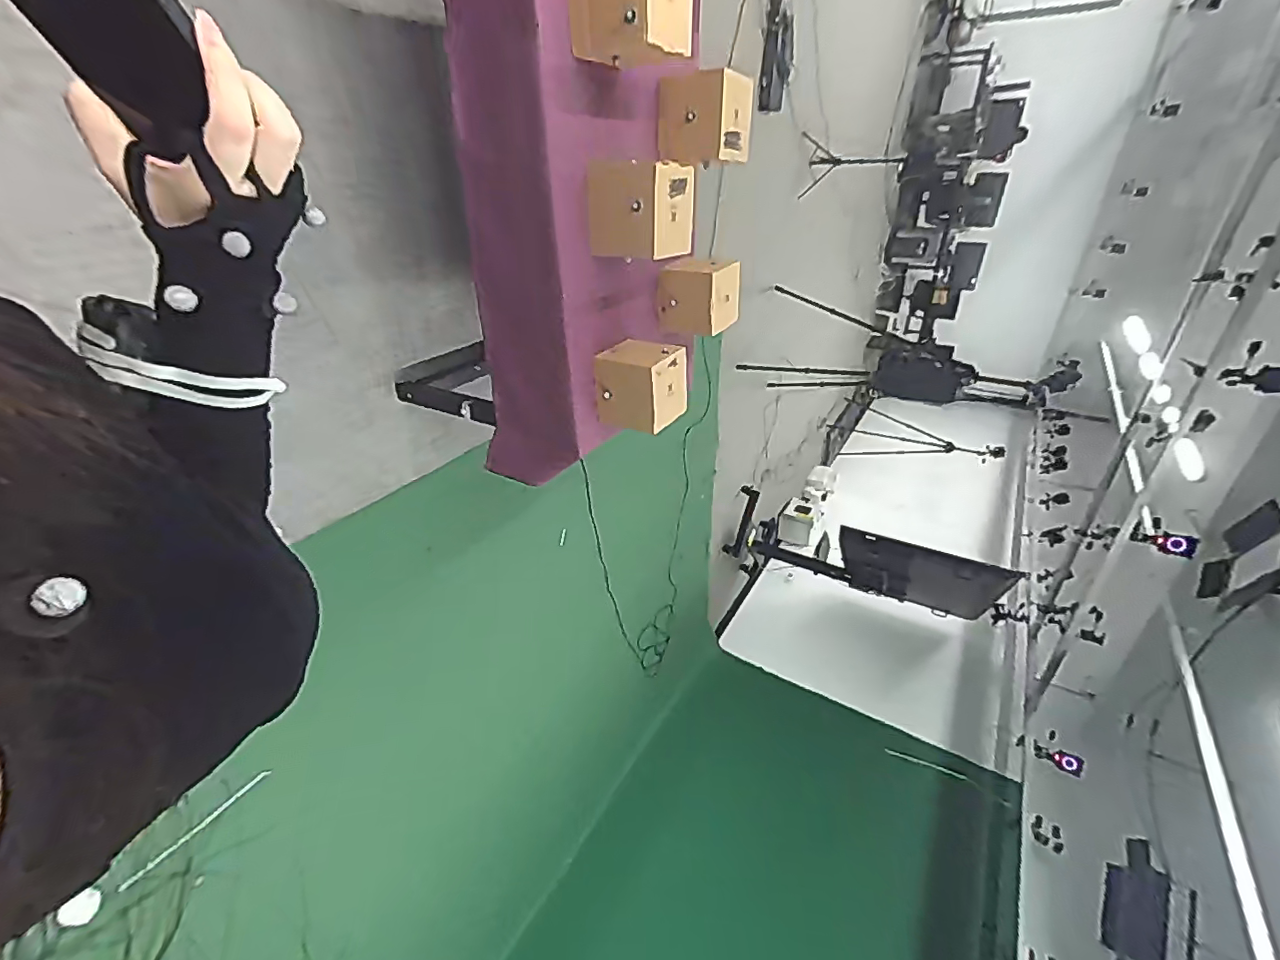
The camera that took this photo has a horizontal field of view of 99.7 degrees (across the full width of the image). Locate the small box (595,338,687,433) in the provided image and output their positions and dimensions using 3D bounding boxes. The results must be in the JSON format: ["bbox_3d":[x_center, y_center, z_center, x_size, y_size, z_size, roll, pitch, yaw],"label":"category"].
[{"bbox_3d":[0.003,-0.242,1.361,0.168,0.176,0.179,-41,138,-46],"label":"small box"}]

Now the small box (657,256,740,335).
[{"bbox_3d":[0.162,-0.517,1.498,0.179,0.176,0.168,-42,138,-44],"label":"small box"}]

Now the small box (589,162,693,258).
[{"bbox_3d":[0.001,-0.587,1.178,0.168,0.176,0.179,-37,136,-48],"label":"small box"}]

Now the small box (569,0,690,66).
[{"bbox_3d":[-0.019,-0.884,0.987,0.168,0.176,0.179,-39,137,-47],"label":"small box"}]
